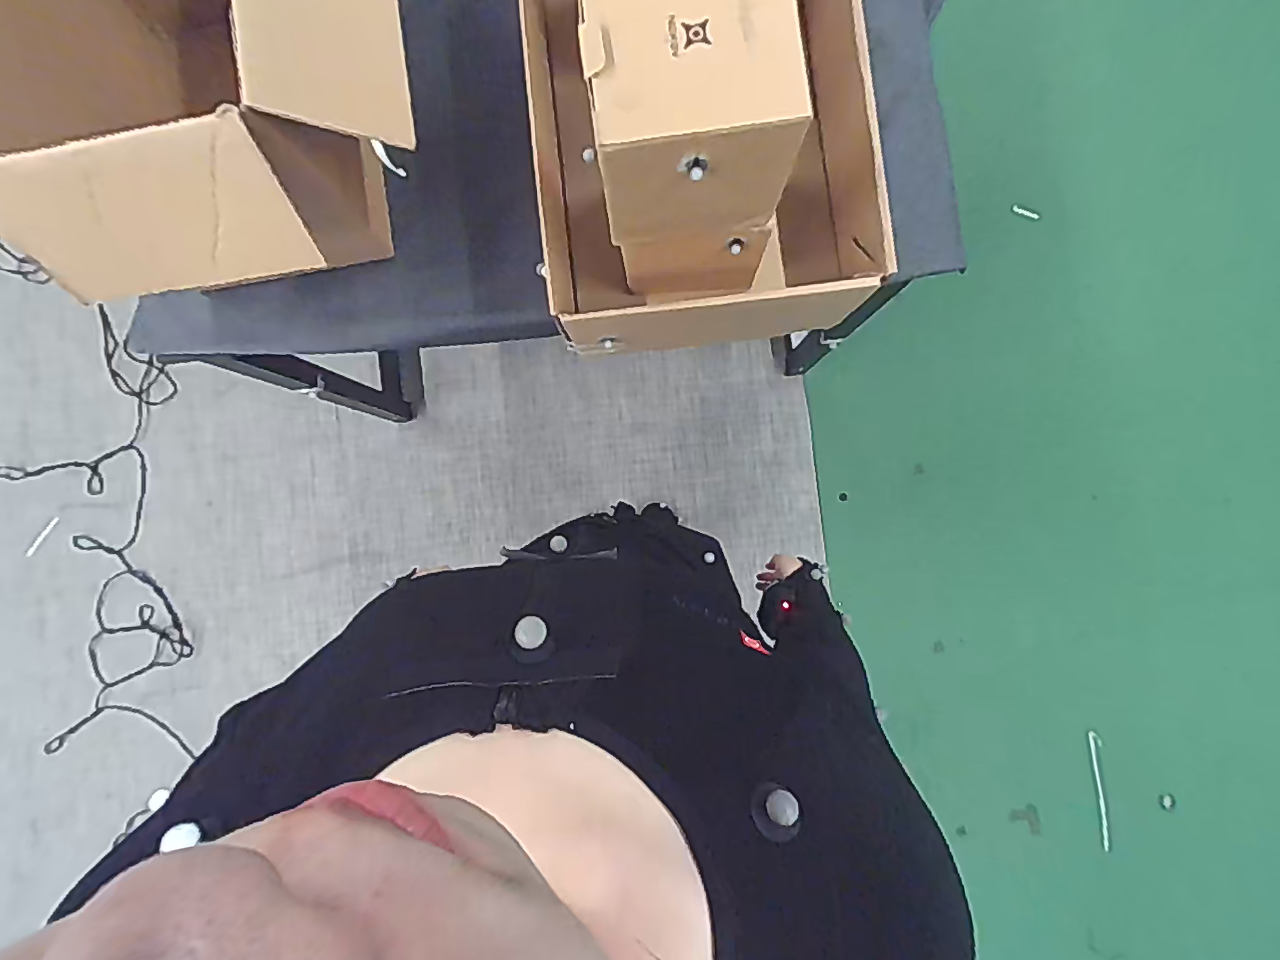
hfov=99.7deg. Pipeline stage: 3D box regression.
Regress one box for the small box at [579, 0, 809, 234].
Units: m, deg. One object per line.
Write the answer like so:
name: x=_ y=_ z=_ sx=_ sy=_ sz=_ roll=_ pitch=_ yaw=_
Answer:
small box: x=0.044 y=-0.358 z=0.518 sx=0.179 sy=0.176 sz=0.168 roll=-7 pitch=89 yaw=1
